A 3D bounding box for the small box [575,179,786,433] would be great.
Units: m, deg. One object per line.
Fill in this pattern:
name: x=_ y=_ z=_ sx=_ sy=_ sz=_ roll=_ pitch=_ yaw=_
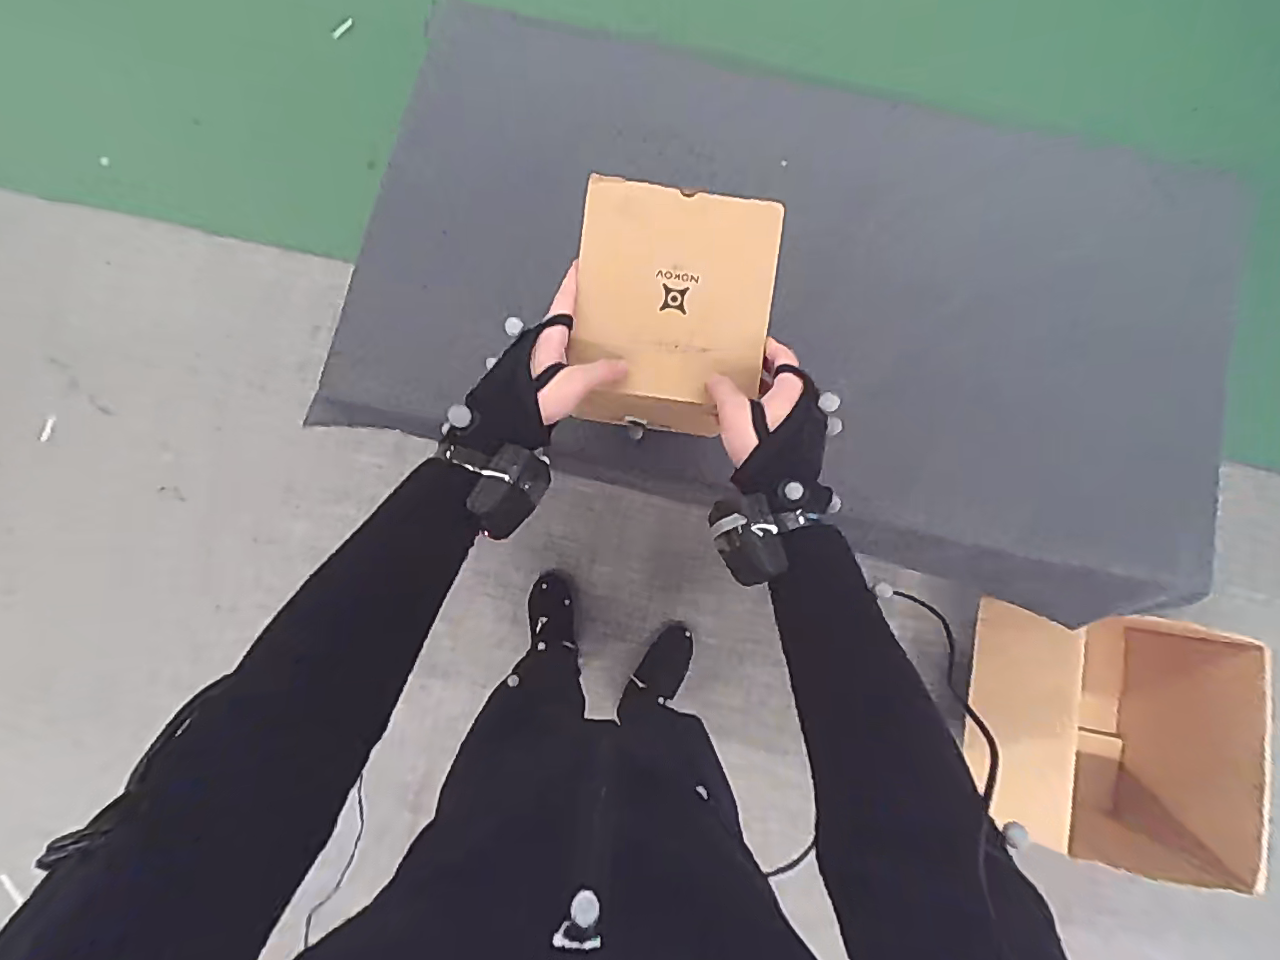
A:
small box: x=0.029 y=-0.153 z=0.534 sx=0.168 sy=0.176 sz=0.179 roll=7 pitch=87 yaw=-4
